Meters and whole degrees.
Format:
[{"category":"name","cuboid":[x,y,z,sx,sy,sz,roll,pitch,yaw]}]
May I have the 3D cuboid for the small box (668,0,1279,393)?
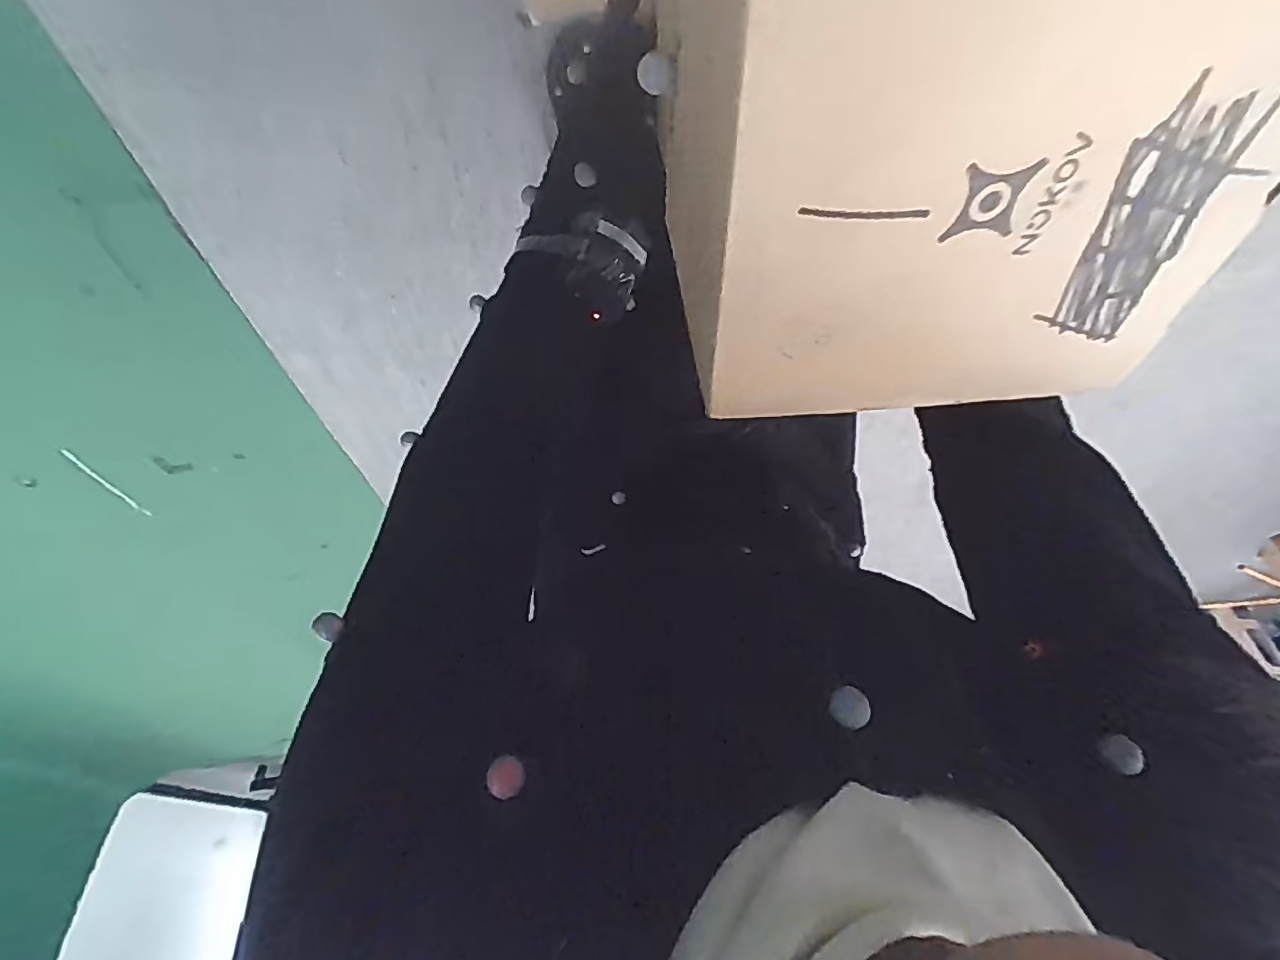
[{"category":"small box","cuboid":[0.107,-0.156,0.220,0.179,0.176,0.168,-3,142,0]}]
